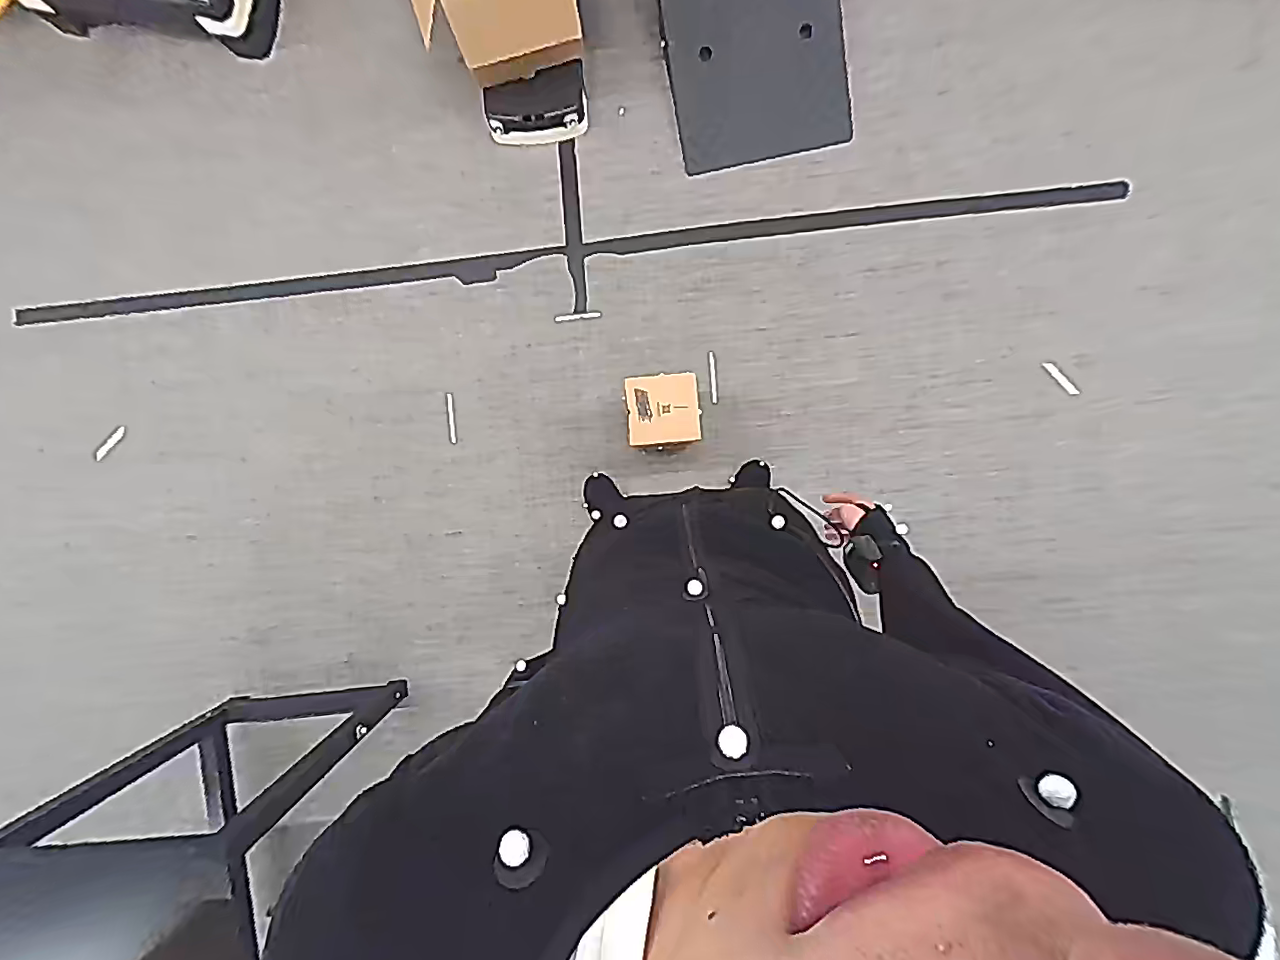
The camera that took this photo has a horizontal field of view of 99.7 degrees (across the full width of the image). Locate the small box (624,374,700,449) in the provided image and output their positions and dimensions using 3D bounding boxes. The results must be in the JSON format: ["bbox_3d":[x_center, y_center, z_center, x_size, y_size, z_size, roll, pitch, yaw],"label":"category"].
[{"bbox_3d":[0.055,-0.168,1.370,0.179,0.176,0.168,-5,92,1],"label":"small box"}]
